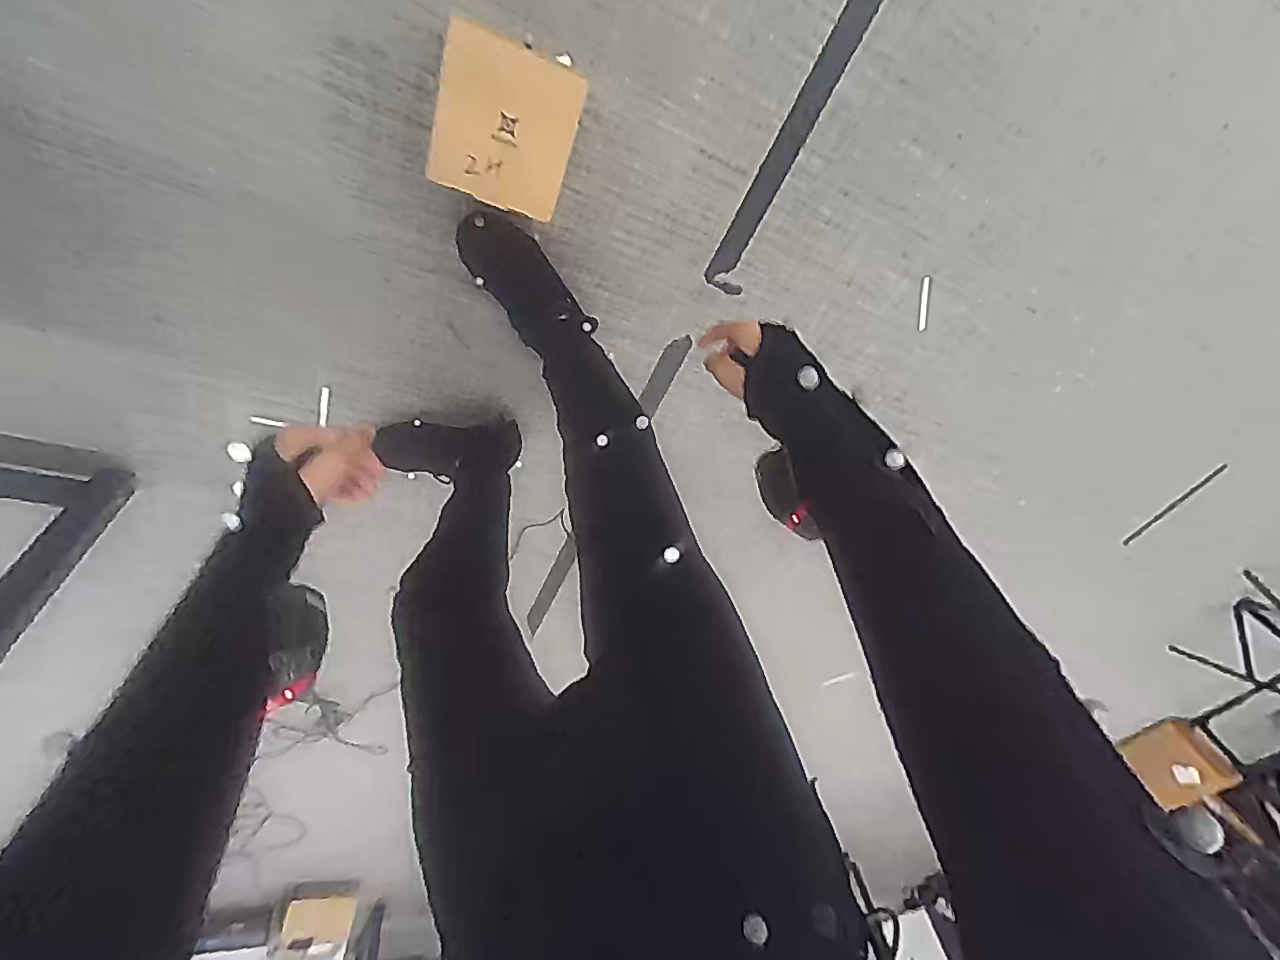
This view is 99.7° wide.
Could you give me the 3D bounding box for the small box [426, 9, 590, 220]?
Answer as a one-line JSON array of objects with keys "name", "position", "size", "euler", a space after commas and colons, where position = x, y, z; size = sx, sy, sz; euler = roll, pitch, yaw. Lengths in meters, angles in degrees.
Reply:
[{"name": "small box", "position": [-0.179, -0.487, 0.723], "size": [0.168, 0.176, 0.179], "euler": [11, 128, -21]}]
